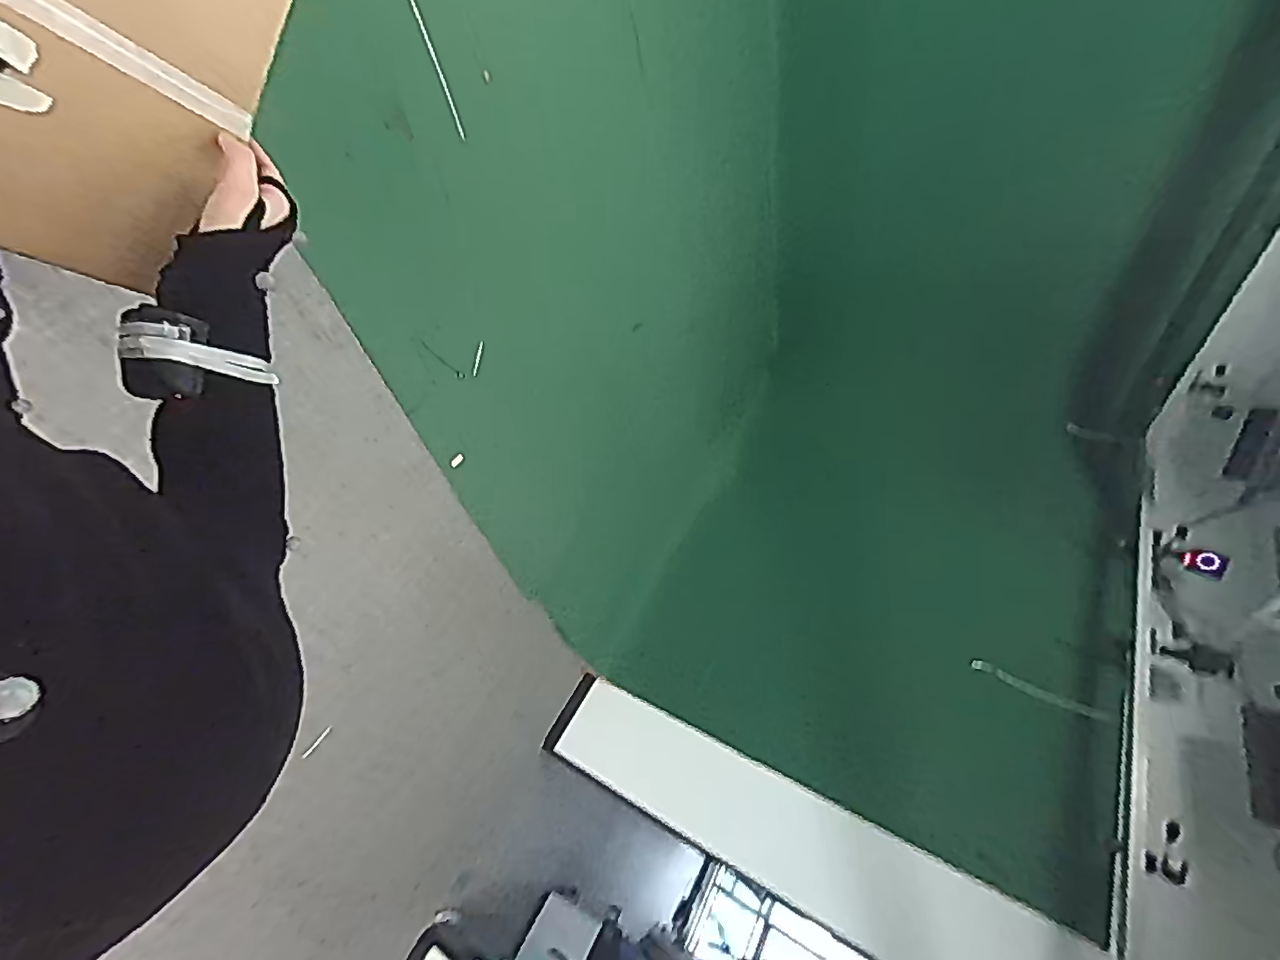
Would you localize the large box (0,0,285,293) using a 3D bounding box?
[{"bbox_3d":[-0.542,-0.374,0.359,0.408,0.320,0.320,11,104,-58],"label":"large box"}]
